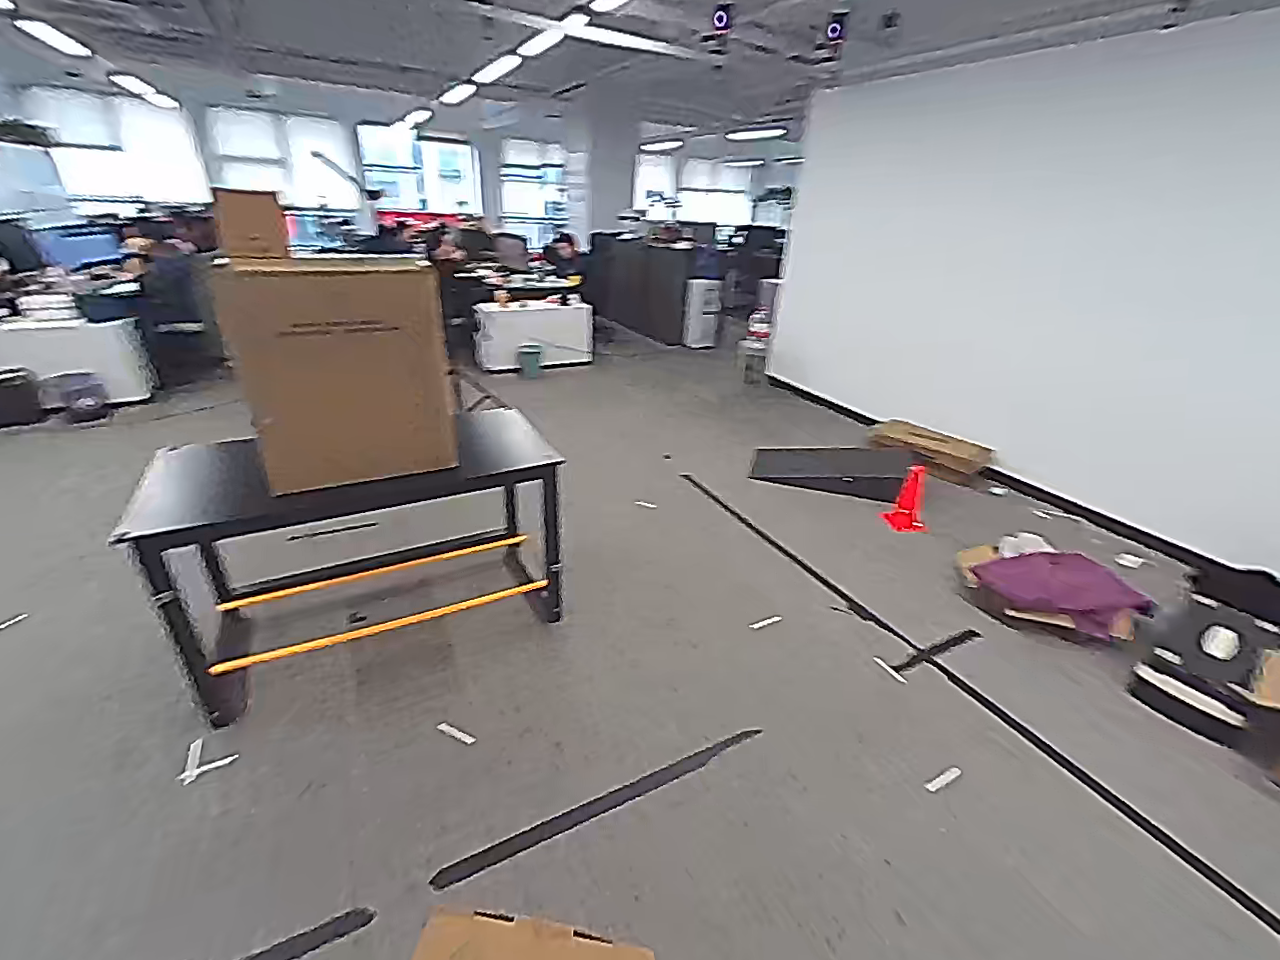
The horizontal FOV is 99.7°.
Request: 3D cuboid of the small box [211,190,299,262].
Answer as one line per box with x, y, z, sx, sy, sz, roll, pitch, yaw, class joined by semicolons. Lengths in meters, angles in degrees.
-1.074;-0.710;1.520;0.168;0.176;0.179;-12;29;-28;small box
